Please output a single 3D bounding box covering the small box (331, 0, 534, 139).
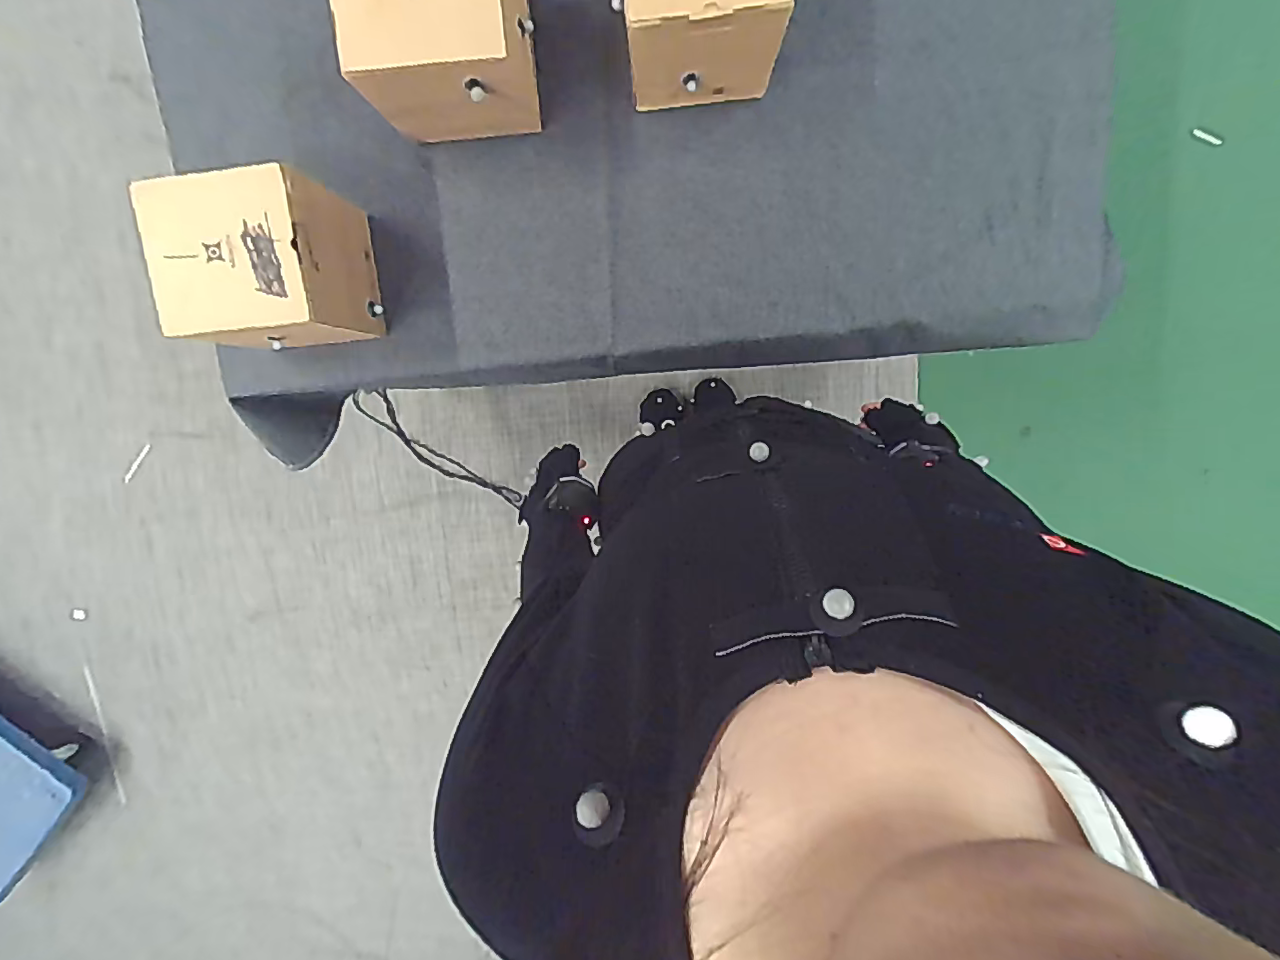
[{"bbox_3d":[-0.222,-0.514,0.614,0.179,0.176,0.168,-3,100,2],"label":"small box"}]

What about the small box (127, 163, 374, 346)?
[{"bbox_3d":[-0.452,-0.261,0.663,0.179,0.176,0.168,-5,99,3],"label":"small box"}]

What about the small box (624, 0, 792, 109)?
[{"bbox_3d":[0.064,-0.556,0.601,0.168,0.176,0.179,-5,100,3],"label":"small box"}]
